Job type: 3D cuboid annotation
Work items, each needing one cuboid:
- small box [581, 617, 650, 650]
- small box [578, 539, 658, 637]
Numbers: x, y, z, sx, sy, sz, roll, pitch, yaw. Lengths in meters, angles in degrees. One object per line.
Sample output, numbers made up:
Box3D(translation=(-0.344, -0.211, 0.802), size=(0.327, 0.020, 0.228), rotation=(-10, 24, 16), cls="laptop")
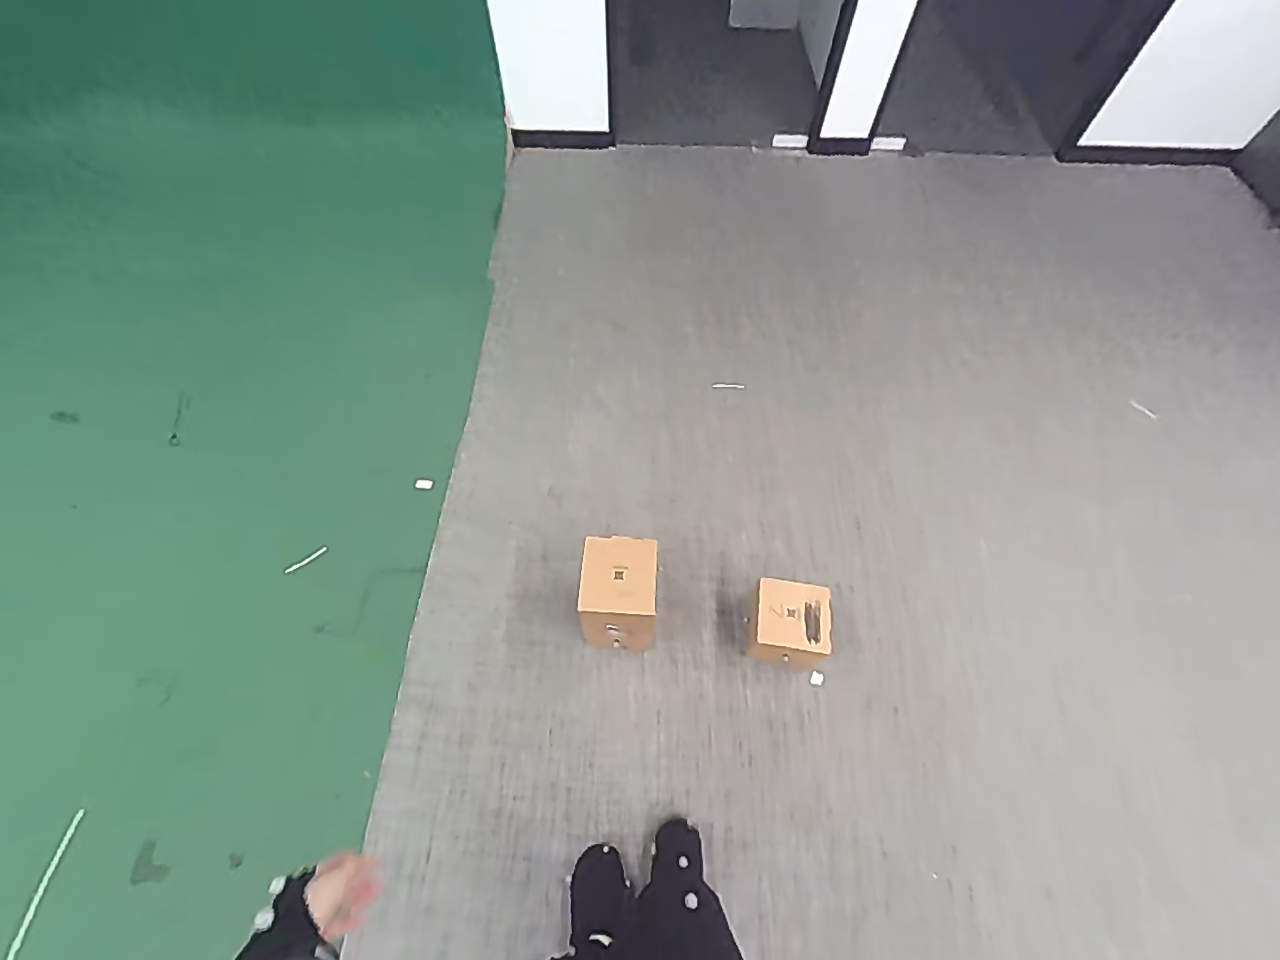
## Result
Box3D(translation=(-0.052, 0.331, 1.392), size=(0.168, 0.176, 0.179), rotation=(6, 61, 2), cls="small box")
Box3D(translation=(-0.046, 0.252, 1.250), size=(0.168, 0.176, 0.179), rotation=(2, 61, 2), cls="small box")
